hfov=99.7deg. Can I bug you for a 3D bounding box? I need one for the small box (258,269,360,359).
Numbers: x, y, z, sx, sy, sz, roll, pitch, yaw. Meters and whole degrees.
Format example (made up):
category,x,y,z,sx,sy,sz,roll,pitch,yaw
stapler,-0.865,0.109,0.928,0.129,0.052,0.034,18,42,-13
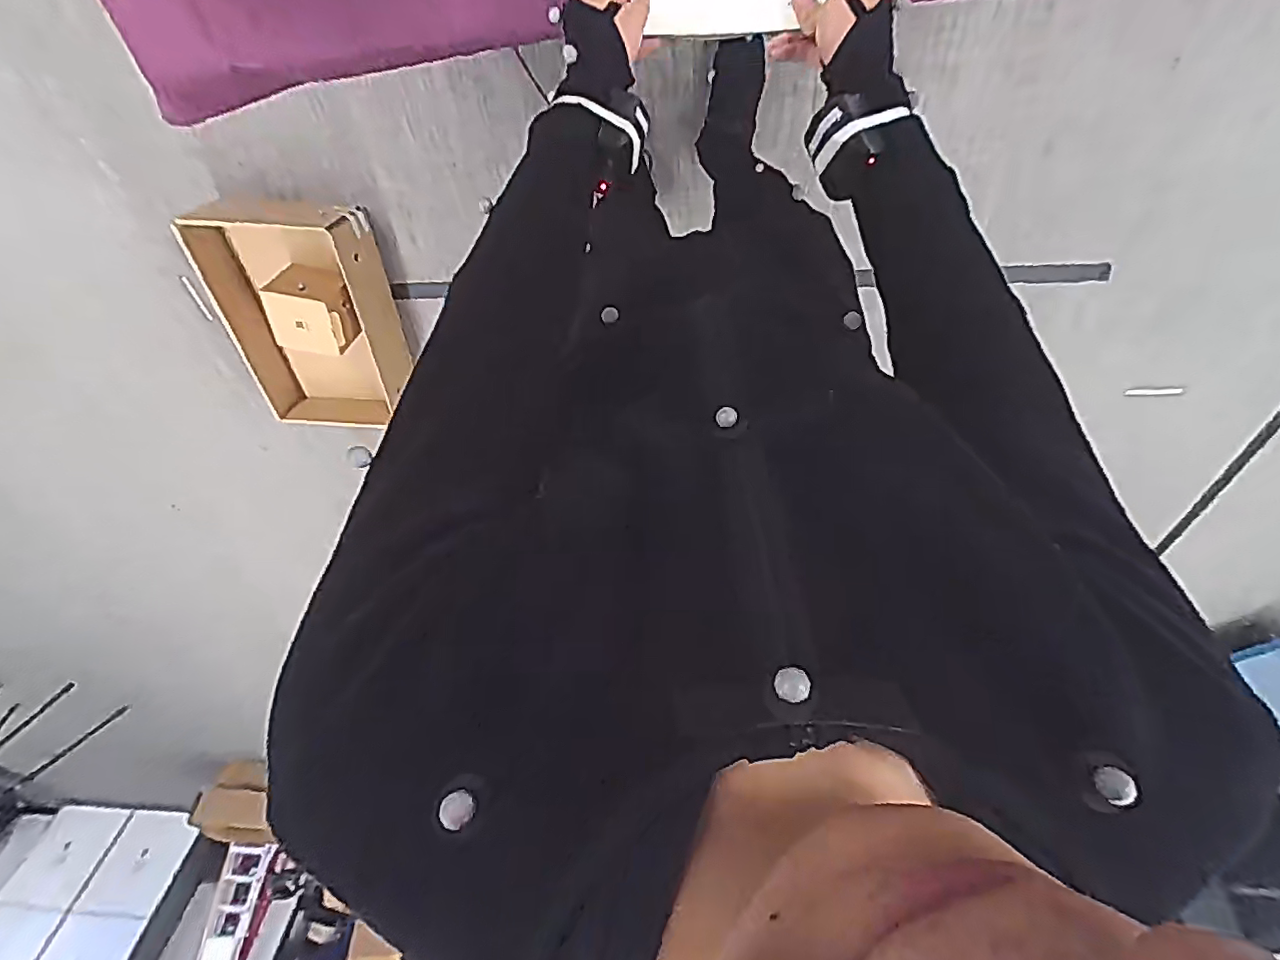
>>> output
category,x,y,z,sx,sy,sz,roll,pitch,yaw
small box,-0.900,-0.462,1.494,0.179,0.176,0.168,10,134,-4
